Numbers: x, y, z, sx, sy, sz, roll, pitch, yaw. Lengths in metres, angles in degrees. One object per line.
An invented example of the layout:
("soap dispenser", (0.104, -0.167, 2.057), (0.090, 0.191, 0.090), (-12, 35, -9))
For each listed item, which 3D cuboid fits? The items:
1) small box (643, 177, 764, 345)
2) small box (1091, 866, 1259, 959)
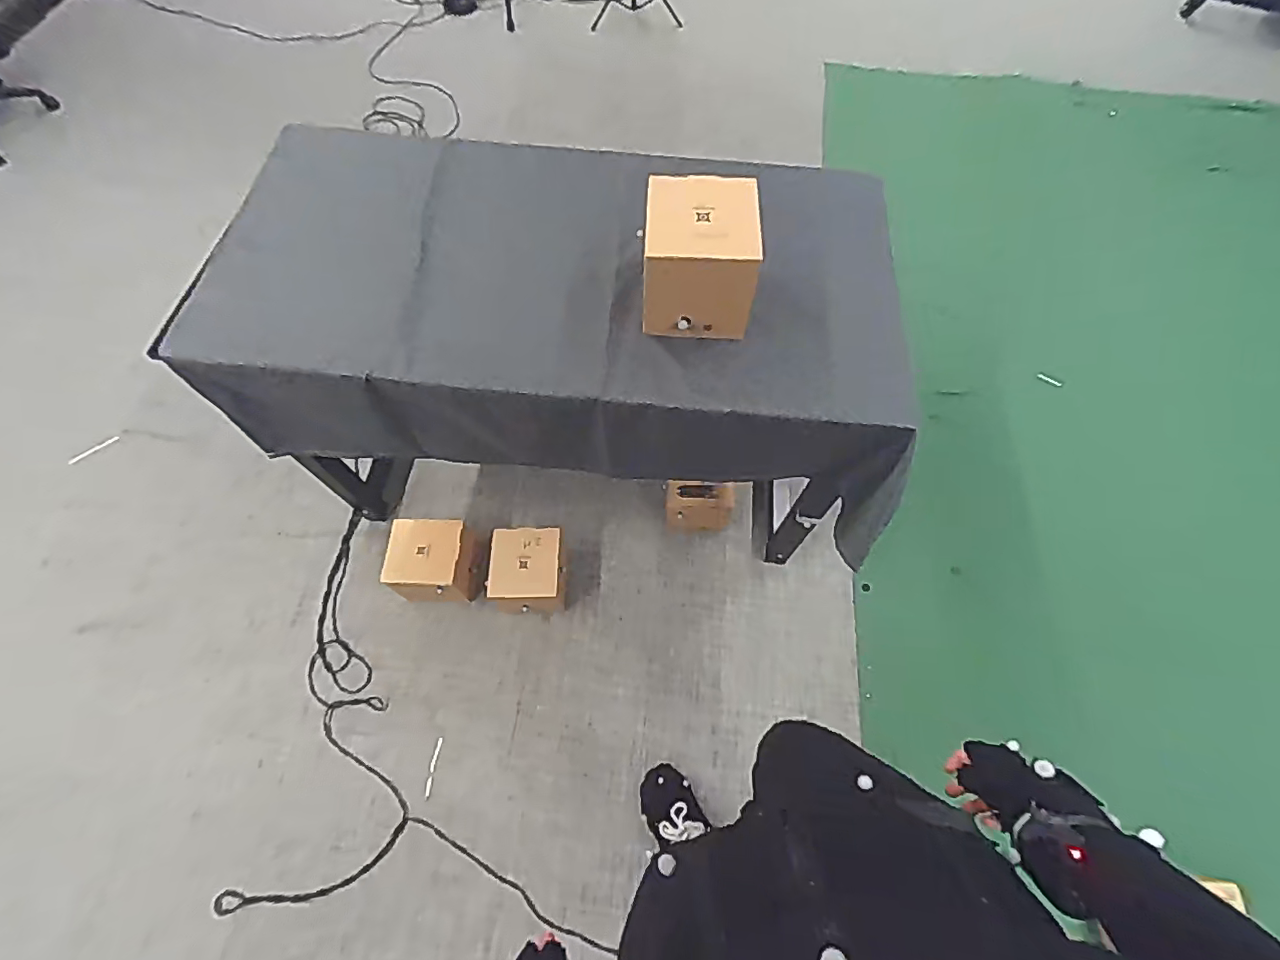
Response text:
("small box", (0.092, -0.338, 0.846), (0.168, 0.176, 0.179), (3, 64, 1))
("small box", (1.048, 0.887, 1.075), (0.179, 0.176, 0.168), (5, 64, 2))
